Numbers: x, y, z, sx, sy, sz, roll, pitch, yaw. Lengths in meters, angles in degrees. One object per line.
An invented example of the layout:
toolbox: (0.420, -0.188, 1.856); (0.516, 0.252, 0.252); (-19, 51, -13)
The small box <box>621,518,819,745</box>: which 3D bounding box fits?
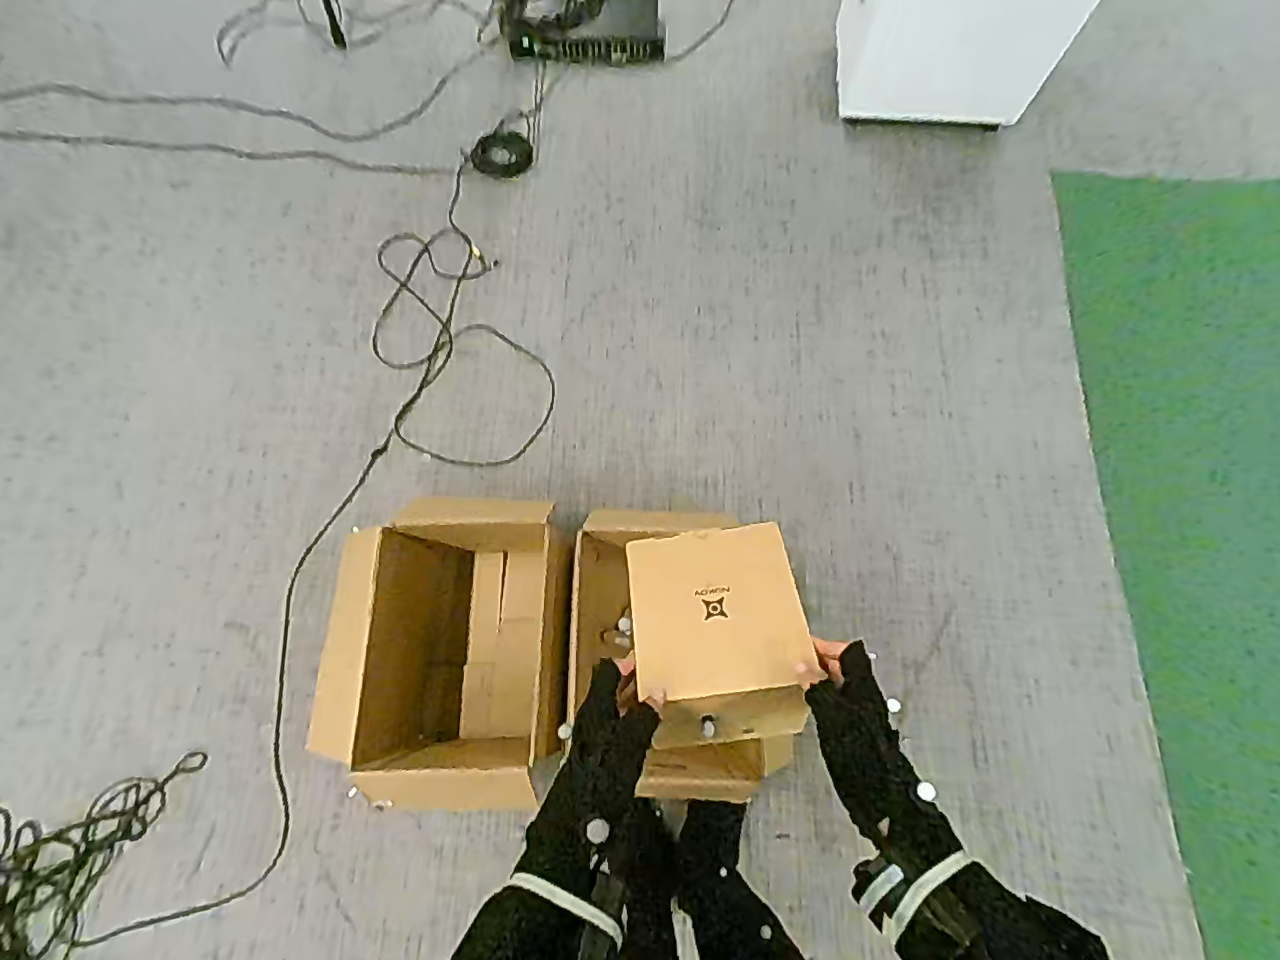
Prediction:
small box: (0.077, 0.167, 0.575); (0.168, 0.176, 0.179); (-8, 49, 2)
